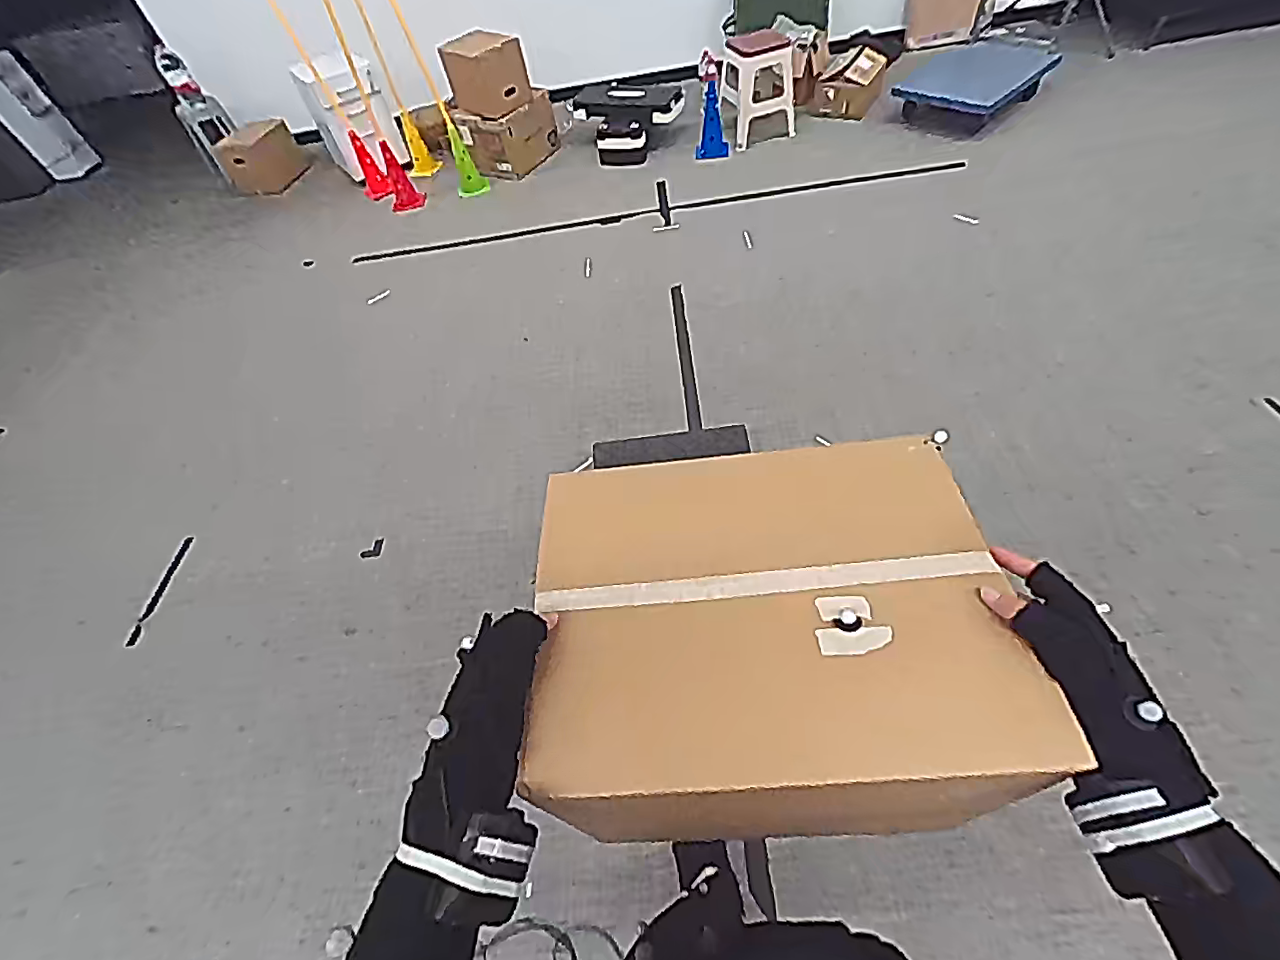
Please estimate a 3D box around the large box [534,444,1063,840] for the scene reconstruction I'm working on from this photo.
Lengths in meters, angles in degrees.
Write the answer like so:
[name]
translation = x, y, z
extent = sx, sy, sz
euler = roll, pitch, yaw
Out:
[large box]
translation = 0.124, 0.194, 0.612
extent = 0.408, 0.320, 0.320
euler = -6, 50, 5
